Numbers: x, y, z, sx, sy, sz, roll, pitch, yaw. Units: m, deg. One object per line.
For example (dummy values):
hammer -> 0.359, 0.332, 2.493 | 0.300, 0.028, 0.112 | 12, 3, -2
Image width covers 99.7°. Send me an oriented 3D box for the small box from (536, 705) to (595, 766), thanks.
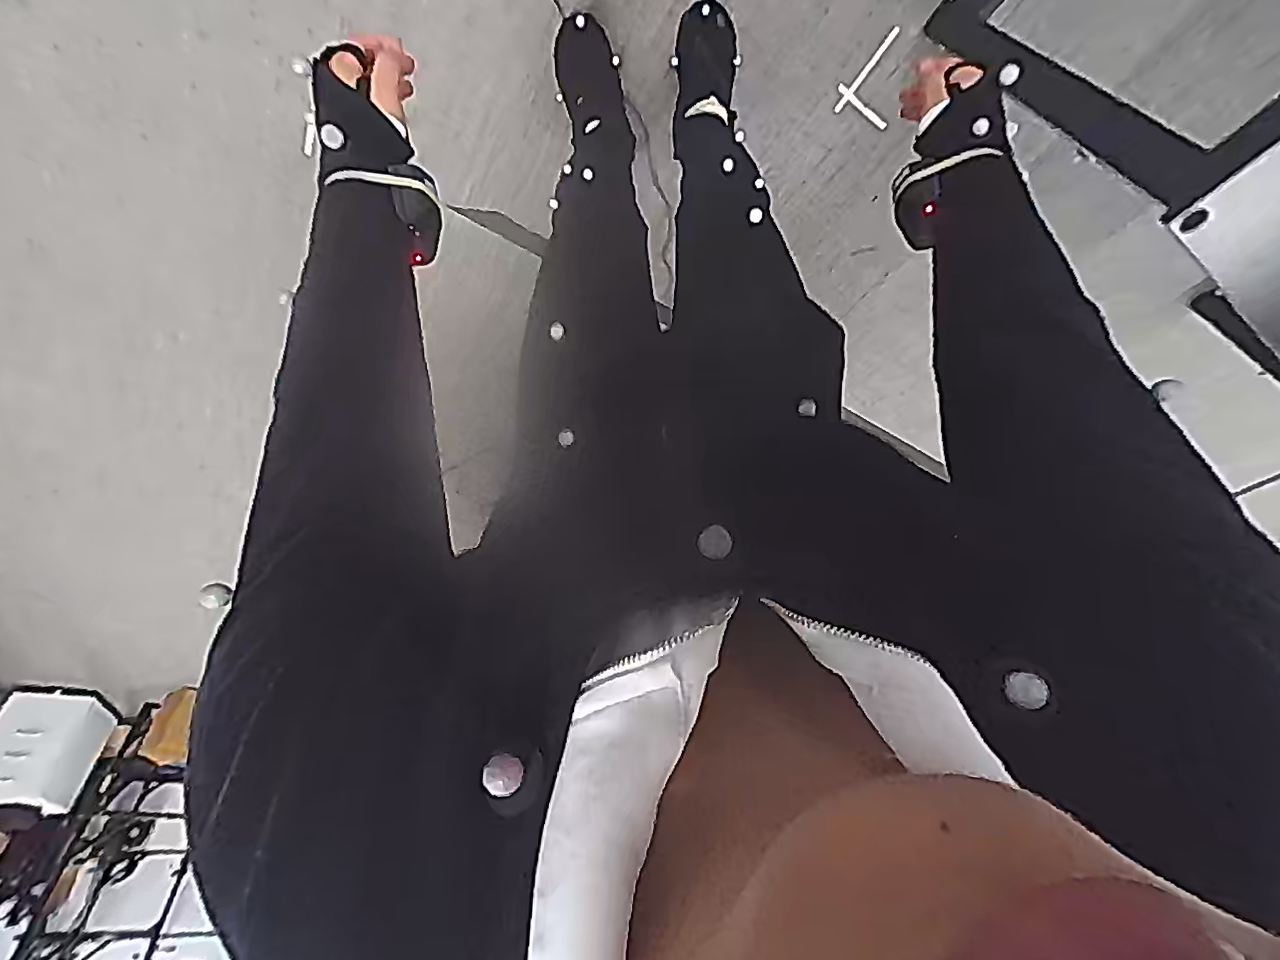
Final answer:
small box -> -0.277, 0.952, 2.013 | 0.179, 0.176, 0.168 | 14, 134, -20
